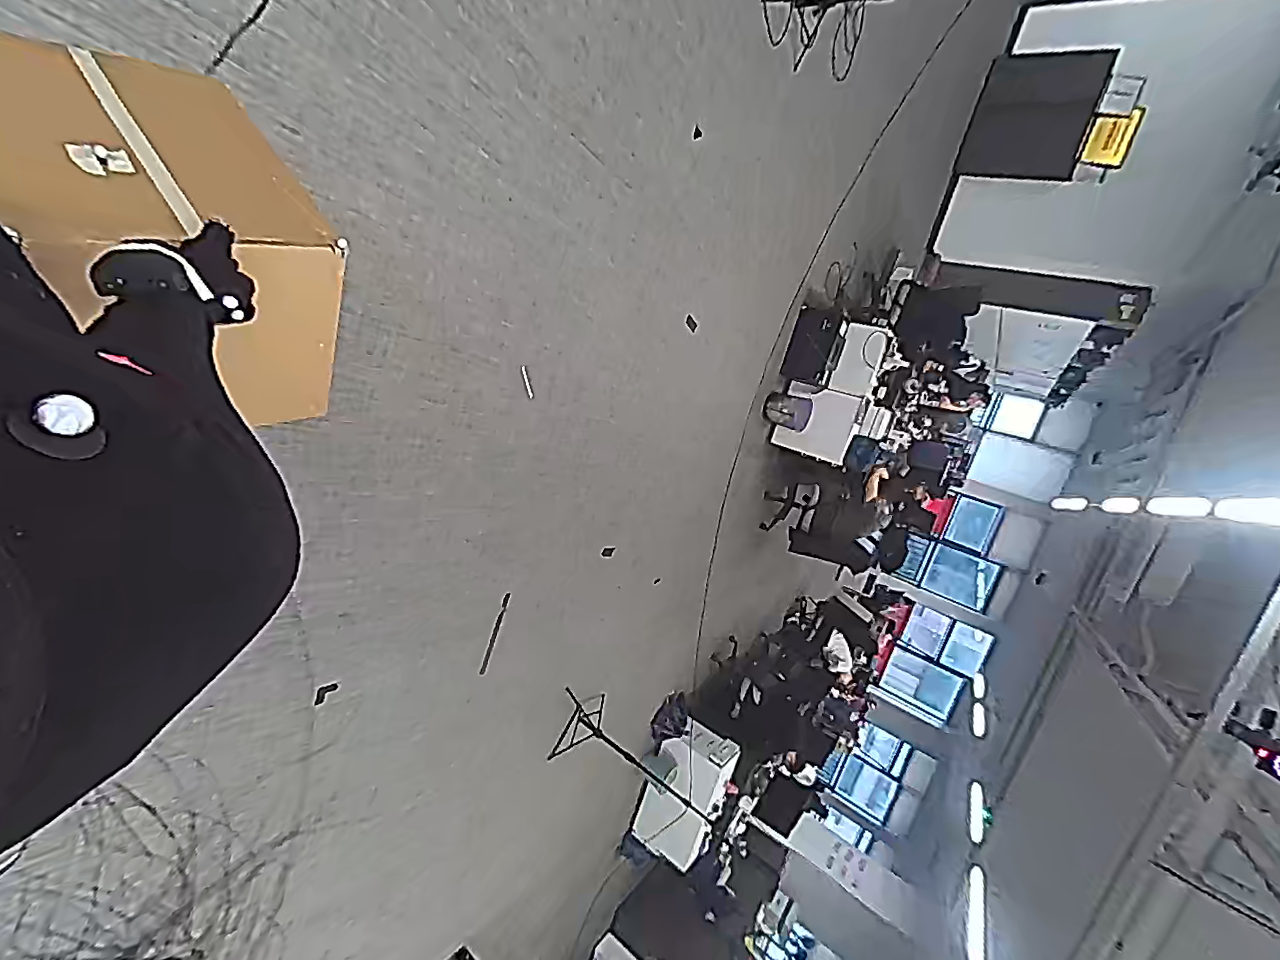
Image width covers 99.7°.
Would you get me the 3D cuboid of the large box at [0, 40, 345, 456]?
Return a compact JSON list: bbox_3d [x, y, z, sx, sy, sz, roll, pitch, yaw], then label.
[{"bbox_3d":[-0.674,-0.305,0.744,0.320,0.408,0.320,-25,160,-45],"label":"large box"}]
